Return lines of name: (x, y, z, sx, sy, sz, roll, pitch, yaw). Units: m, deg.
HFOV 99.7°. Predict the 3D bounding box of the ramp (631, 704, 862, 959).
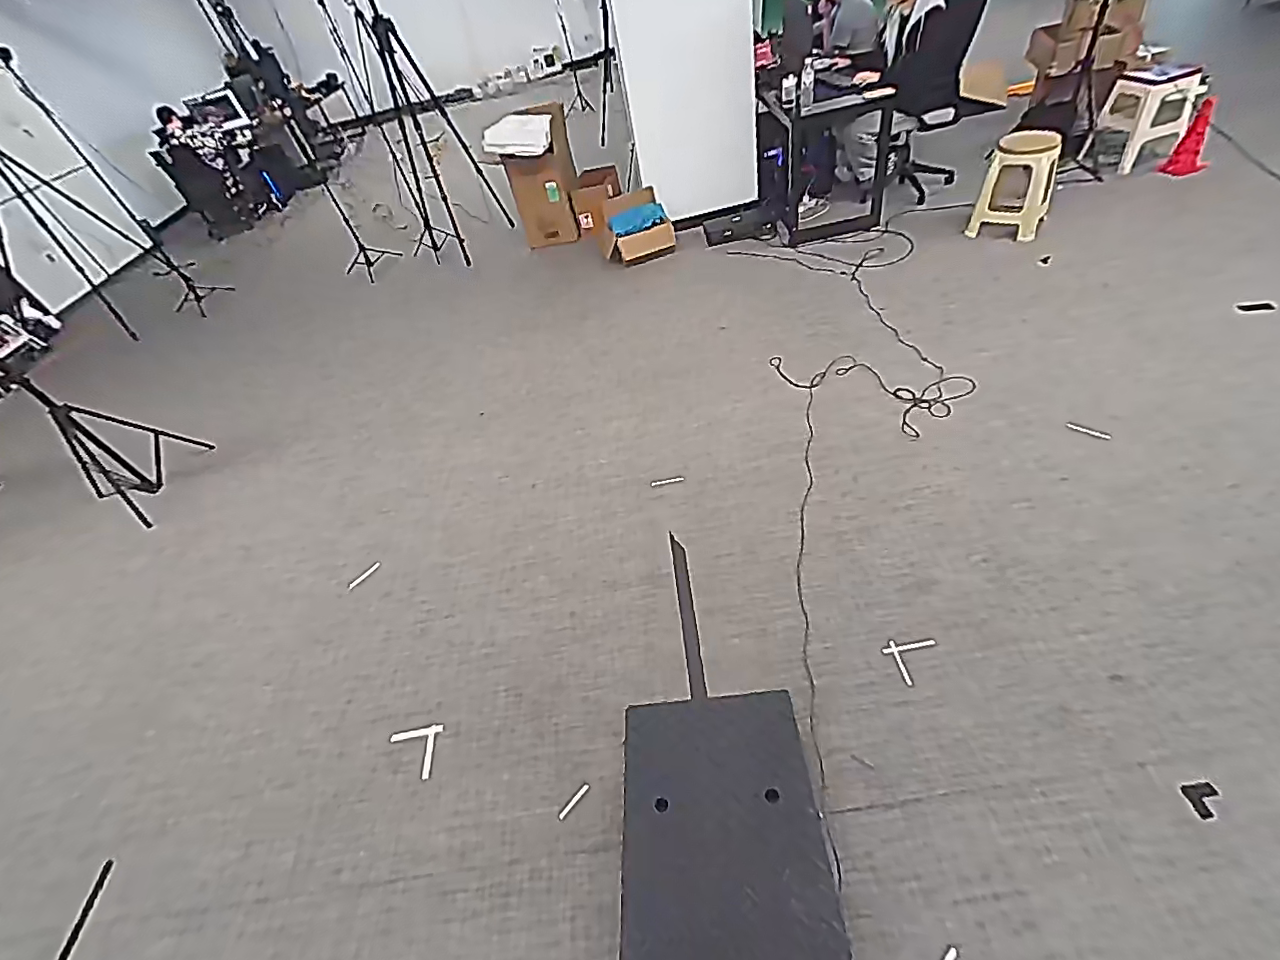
ramp: (0.218, 0.982, 1.207, 0.509, 0.206, 0.991, -12, 43, 6)
